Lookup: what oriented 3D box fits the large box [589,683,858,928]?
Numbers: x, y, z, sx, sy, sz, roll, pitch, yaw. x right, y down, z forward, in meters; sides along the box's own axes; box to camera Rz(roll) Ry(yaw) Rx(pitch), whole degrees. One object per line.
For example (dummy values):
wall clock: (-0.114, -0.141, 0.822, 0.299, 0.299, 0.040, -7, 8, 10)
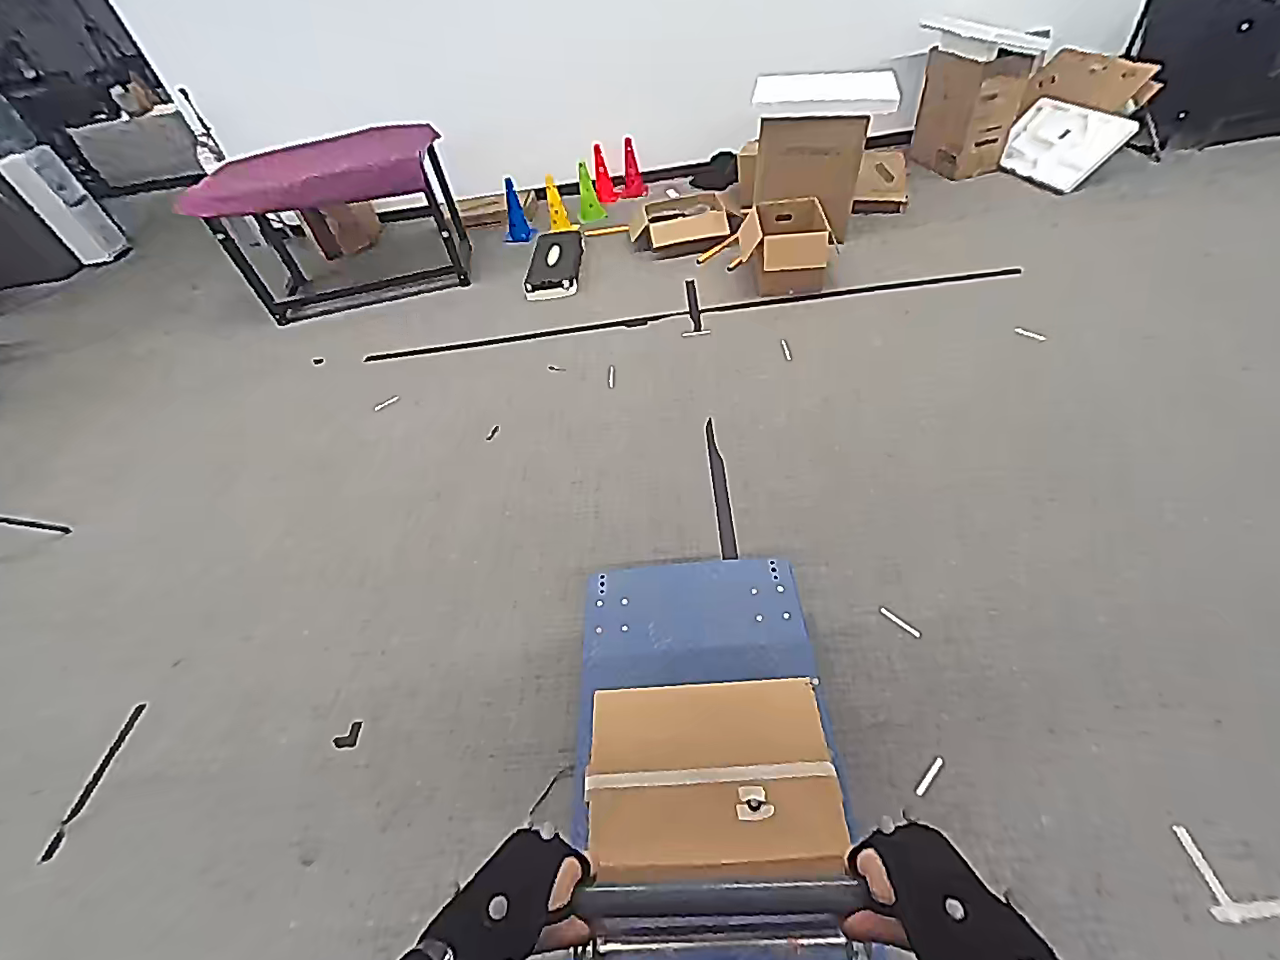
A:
large box: (0.129, 0.602, 0.995, 0.408, 0.320, 0.320, -6, 47, 4)
